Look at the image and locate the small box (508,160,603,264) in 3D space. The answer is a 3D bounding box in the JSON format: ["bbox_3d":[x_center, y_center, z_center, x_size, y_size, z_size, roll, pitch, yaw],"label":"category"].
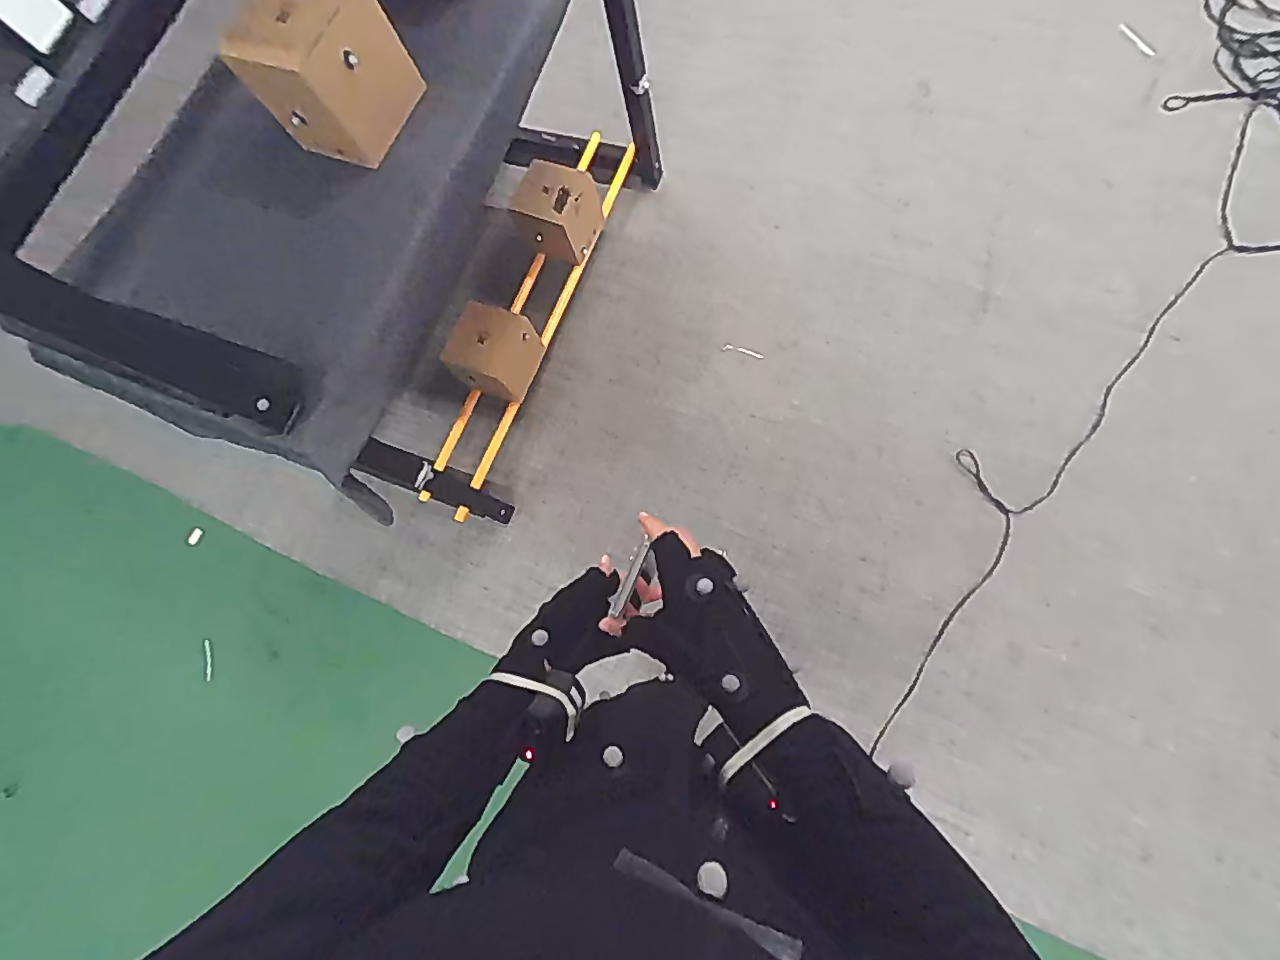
[{"bbox_3d":[-0.219,-0.715,1.459,0.179,0.176,0.168,23,80,14],"label":"small box"}]

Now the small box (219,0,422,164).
[{"bbox_3d":[-0.472,-0.627,0.826,0.168,0.176,0.179,23,80,15],"label":"small box"}]
